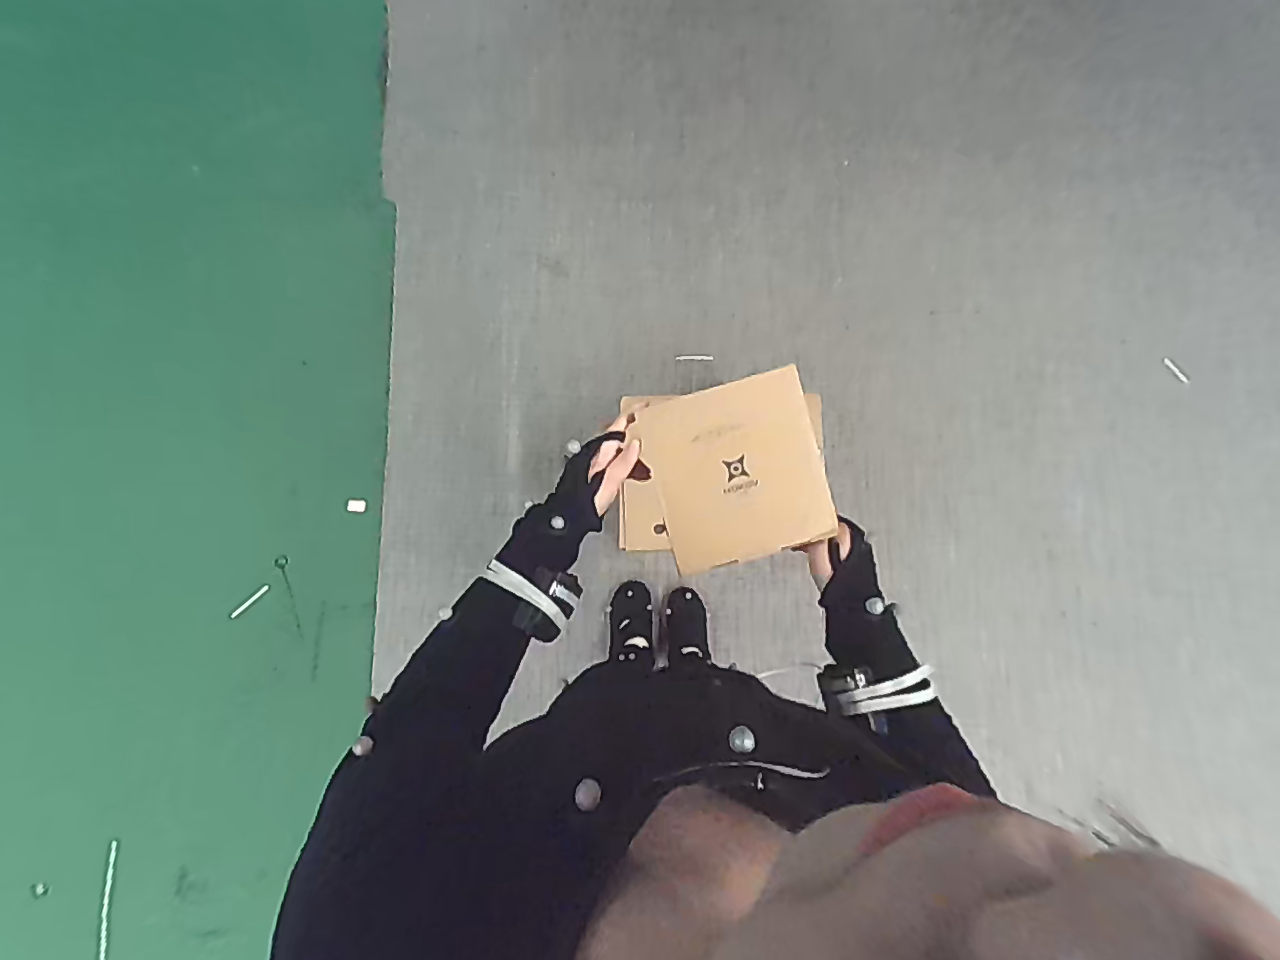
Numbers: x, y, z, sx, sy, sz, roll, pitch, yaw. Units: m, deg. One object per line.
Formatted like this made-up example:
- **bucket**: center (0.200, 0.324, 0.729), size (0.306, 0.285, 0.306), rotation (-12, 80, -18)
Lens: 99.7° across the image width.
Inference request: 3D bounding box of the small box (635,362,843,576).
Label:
- **small box**: center (0.099, -0.014, 0.599), size (0.168, 0.176, 0.179), rotation (-16, 92, 3)
